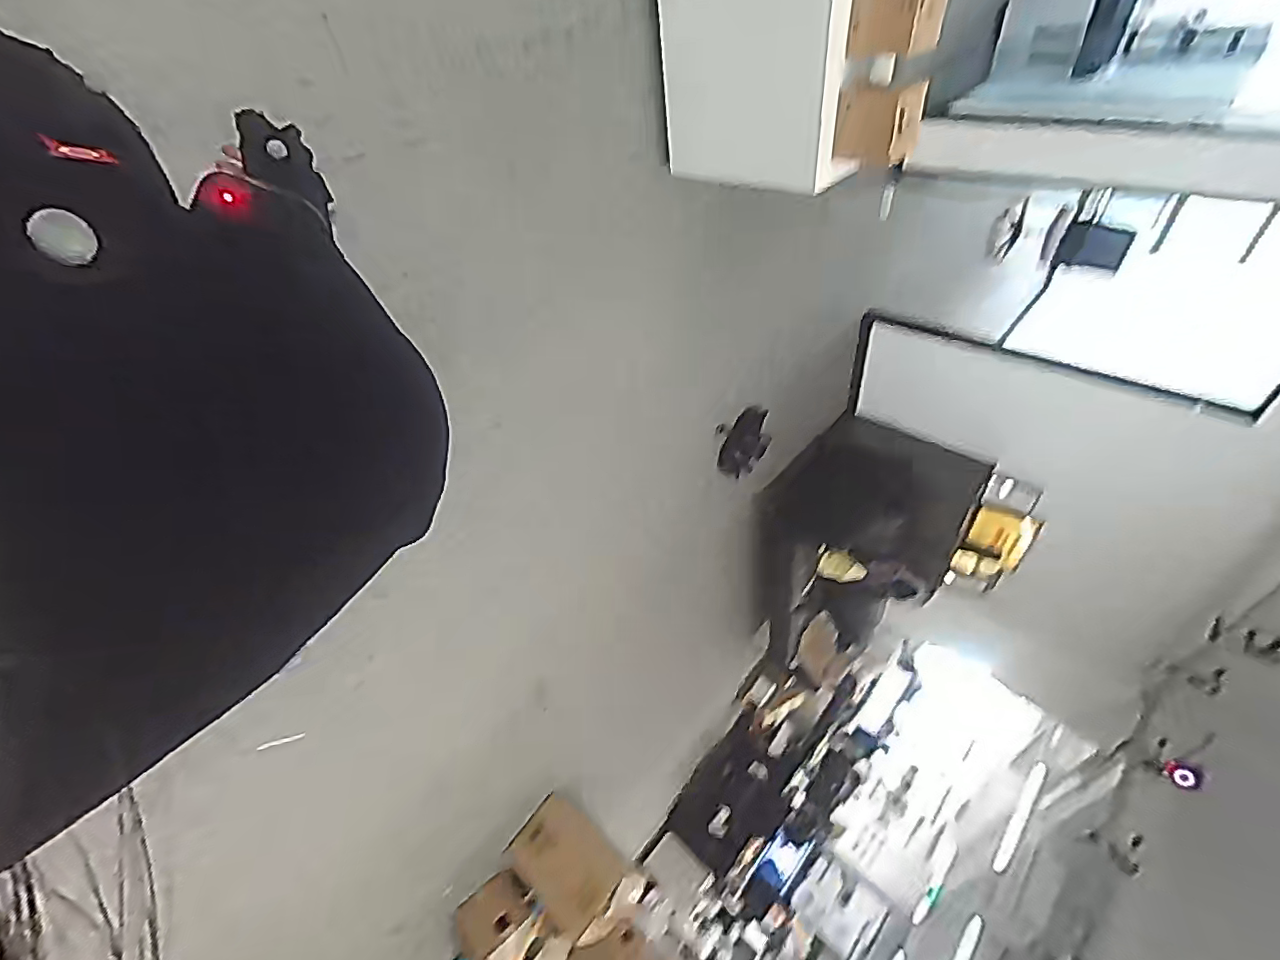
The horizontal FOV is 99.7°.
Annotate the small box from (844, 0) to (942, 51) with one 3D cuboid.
[{"bbox_3d":[0.630,-1.175,1.330,0.179,0.176,0.168,-40,140,-30],"label":"small box"}]

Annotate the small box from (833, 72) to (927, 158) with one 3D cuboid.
[{"bbox_3d":[0.650,-1.000,1.483,0.179,0.176,0.168,-41,141,-29],"label":"small box"}]
